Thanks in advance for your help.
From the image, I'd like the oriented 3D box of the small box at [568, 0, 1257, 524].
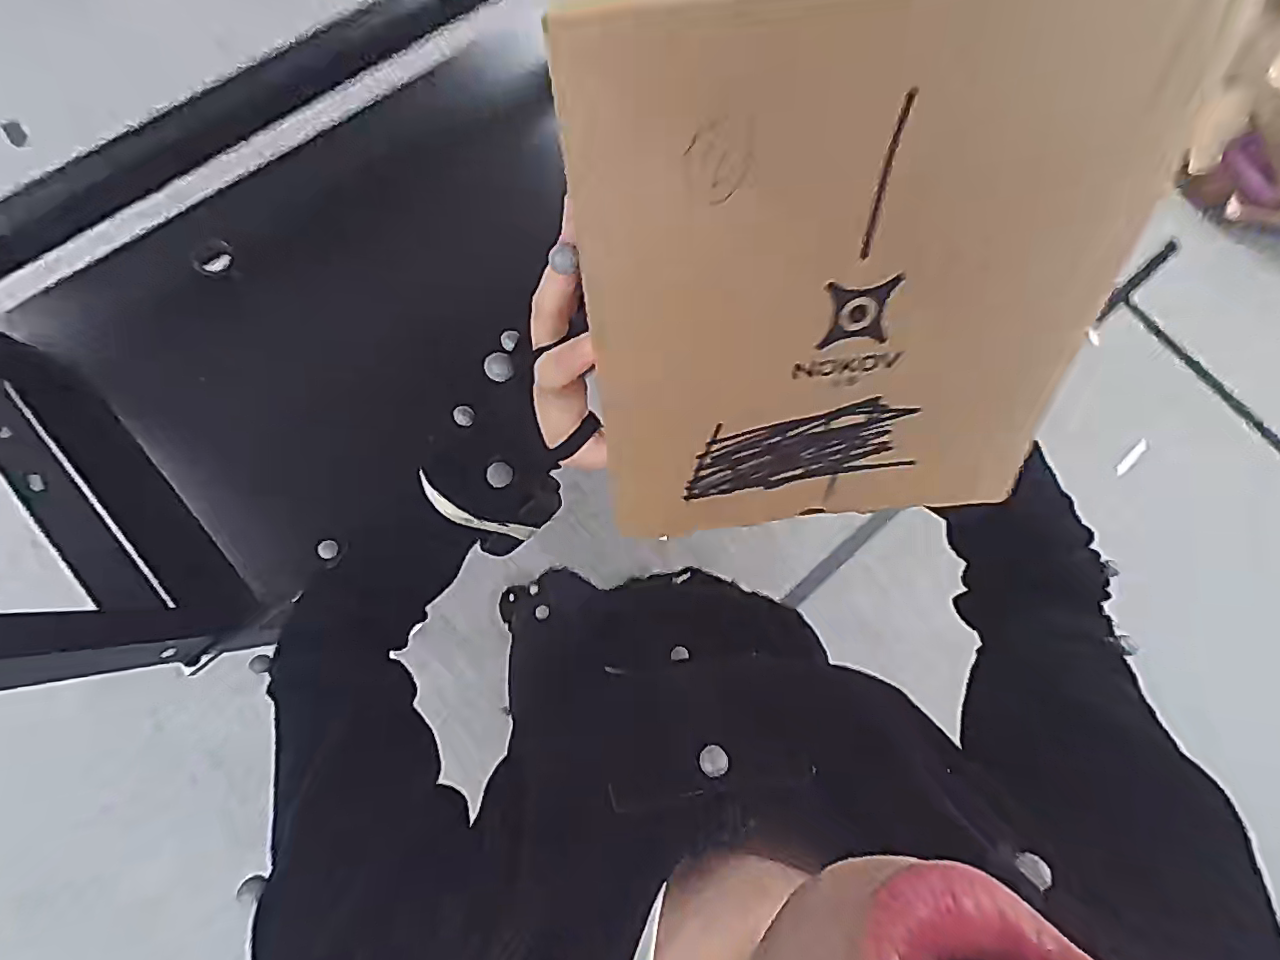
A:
[{"bbox_3d":[0.064,-0.104,0.240,0.168,0.179,0.176,-6,43,0],"label":"small box"}]
